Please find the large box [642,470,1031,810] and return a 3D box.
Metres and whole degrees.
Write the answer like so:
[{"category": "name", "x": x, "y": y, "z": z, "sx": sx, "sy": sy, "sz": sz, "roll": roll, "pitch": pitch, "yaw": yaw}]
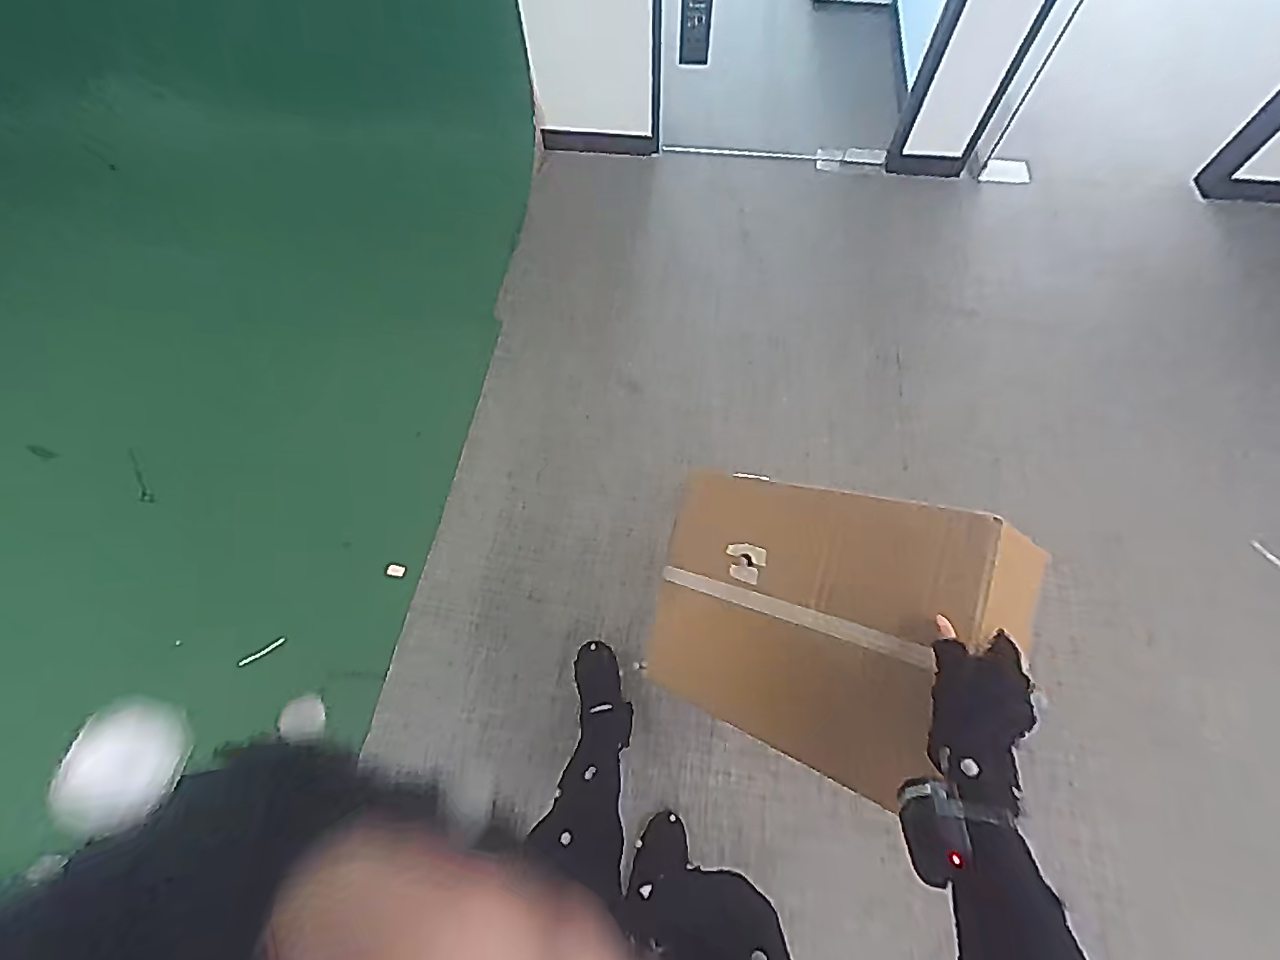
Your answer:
[{"category": "large box", "x": 0.275, "y": 0.184, "z": 0.772, "sx": 0.408, "sy": 0.320, "sz": 0.320, "roll": 10, "pitch": 84, "yaw": 44}]
